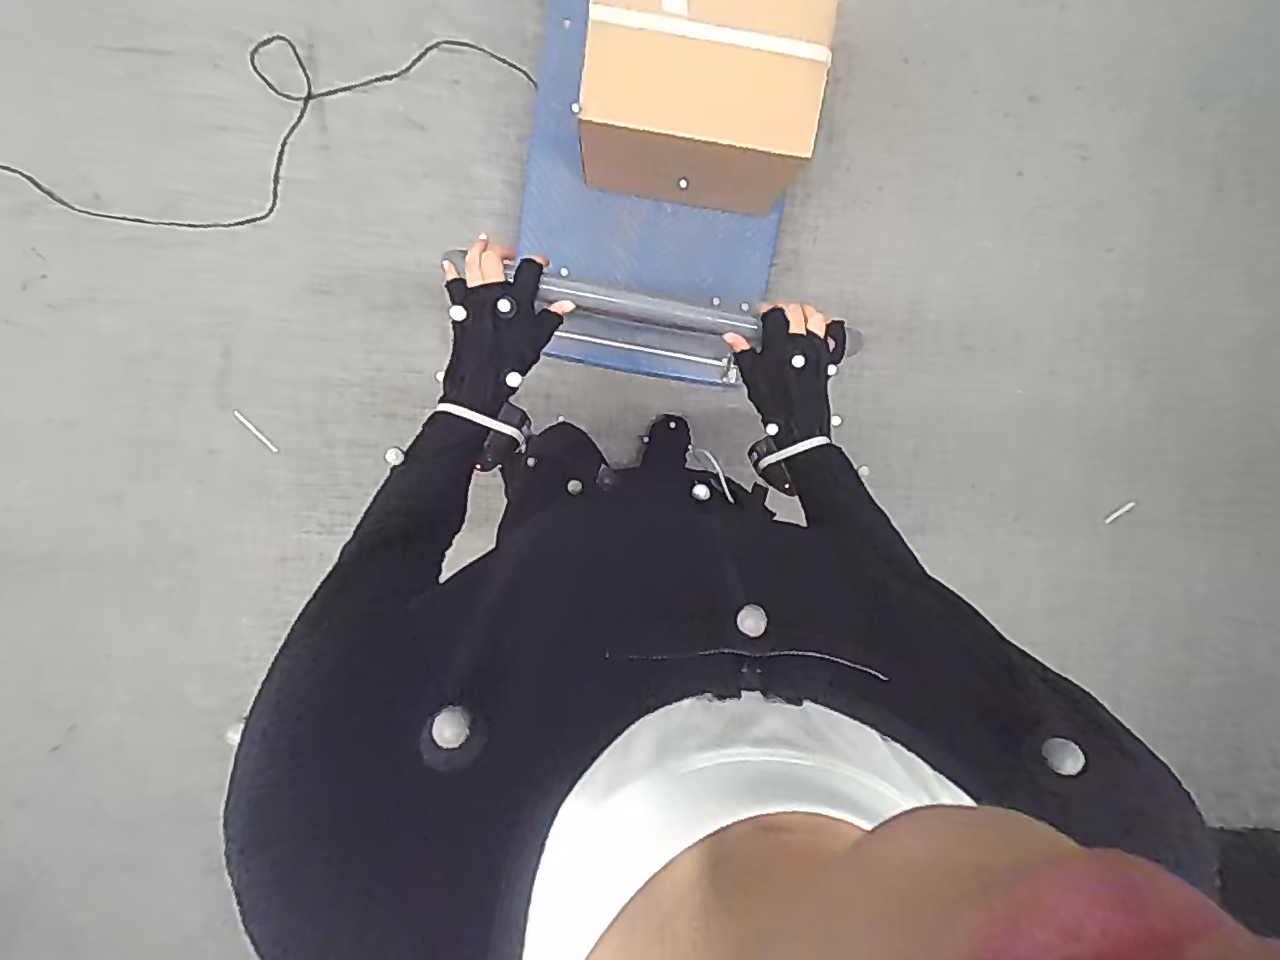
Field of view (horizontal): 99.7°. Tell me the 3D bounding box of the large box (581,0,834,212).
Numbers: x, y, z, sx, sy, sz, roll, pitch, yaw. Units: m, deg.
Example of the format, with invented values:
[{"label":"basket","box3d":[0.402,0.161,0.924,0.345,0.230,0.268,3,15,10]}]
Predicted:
[{"label":"large box","box3d":[0.110,-0.748,1.043,0.408,0.320,0.320,7,97,-4]}]
